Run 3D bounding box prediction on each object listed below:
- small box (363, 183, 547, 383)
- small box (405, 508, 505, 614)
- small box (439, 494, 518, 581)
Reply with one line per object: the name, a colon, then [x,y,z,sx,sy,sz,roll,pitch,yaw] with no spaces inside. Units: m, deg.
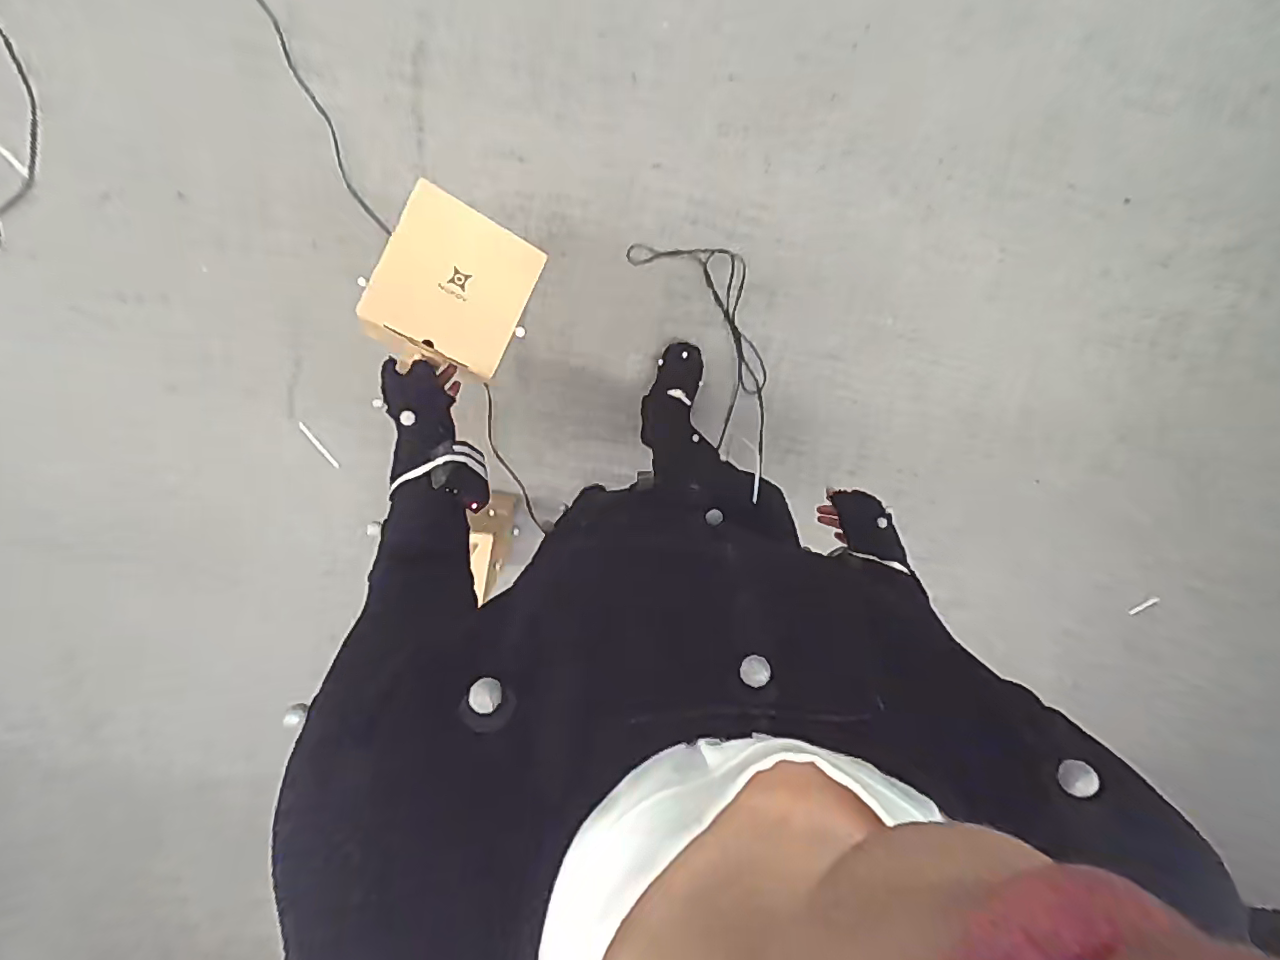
small box: [-0.249,-0.245,0.723,0.168,0.176,0.179,25,87,-24]
small box: [-0.409,0.175,1.218,0.168,0.176,0.179,11,101,-6]
small box: [-0.413,0.139,1.381,0.168,0.176,0.179,8,99,-2]
